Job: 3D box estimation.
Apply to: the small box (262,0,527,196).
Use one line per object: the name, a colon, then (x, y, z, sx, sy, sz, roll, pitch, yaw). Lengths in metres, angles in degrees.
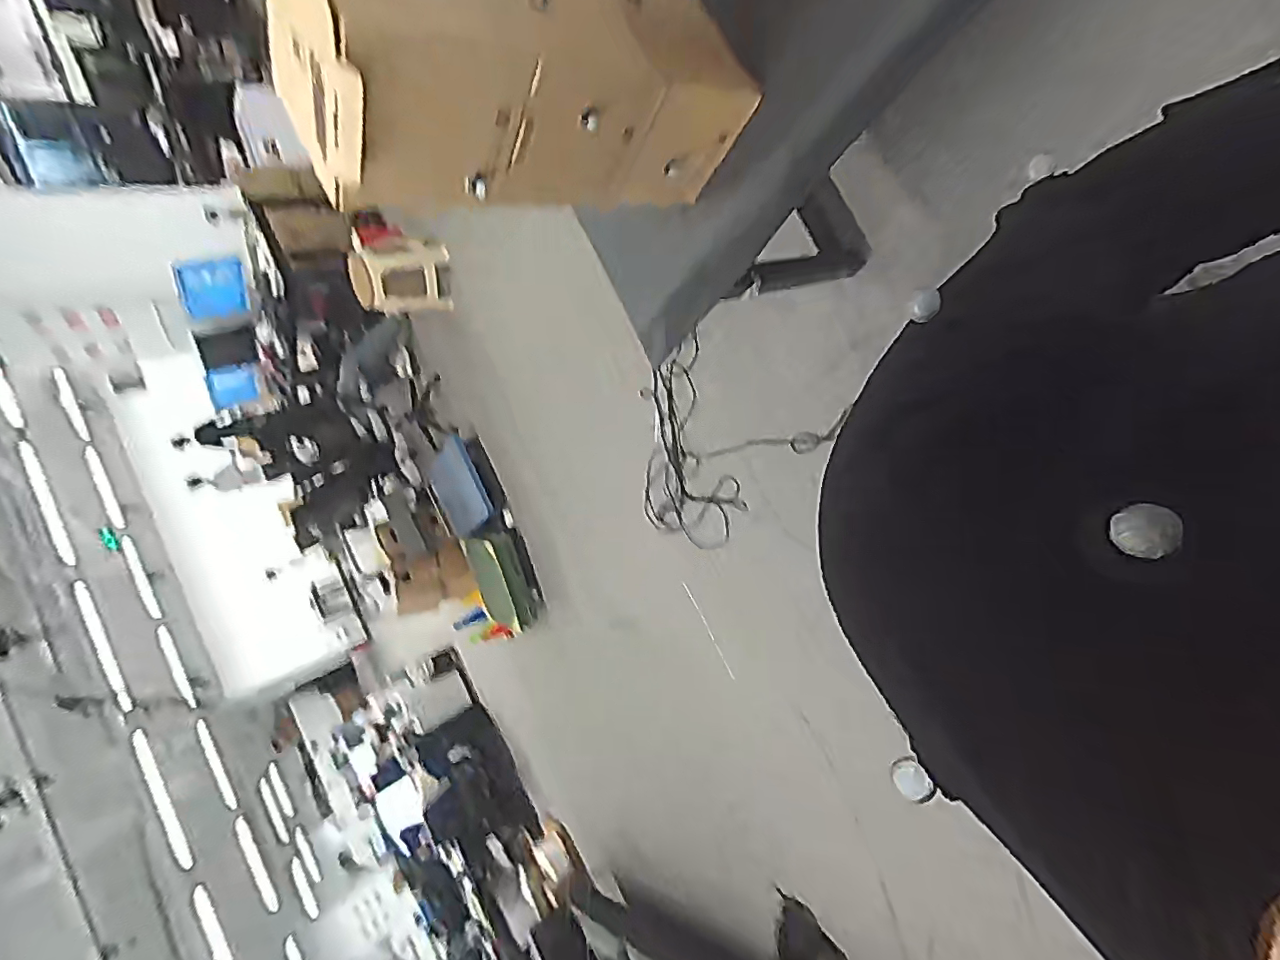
small box: (-0.229, -0.397, 0.505, 0.179, 0.176, 0.168, 60, 142, 11)

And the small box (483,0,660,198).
small box: (-0.107, -0.447, 0.603, 0.179, 0.176, 0.168, 61, 142, 10)

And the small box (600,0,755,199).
small box: (0.015, -0.498, 0.701, 0.168, 0.176, 0.179, -39, 77, 51)
